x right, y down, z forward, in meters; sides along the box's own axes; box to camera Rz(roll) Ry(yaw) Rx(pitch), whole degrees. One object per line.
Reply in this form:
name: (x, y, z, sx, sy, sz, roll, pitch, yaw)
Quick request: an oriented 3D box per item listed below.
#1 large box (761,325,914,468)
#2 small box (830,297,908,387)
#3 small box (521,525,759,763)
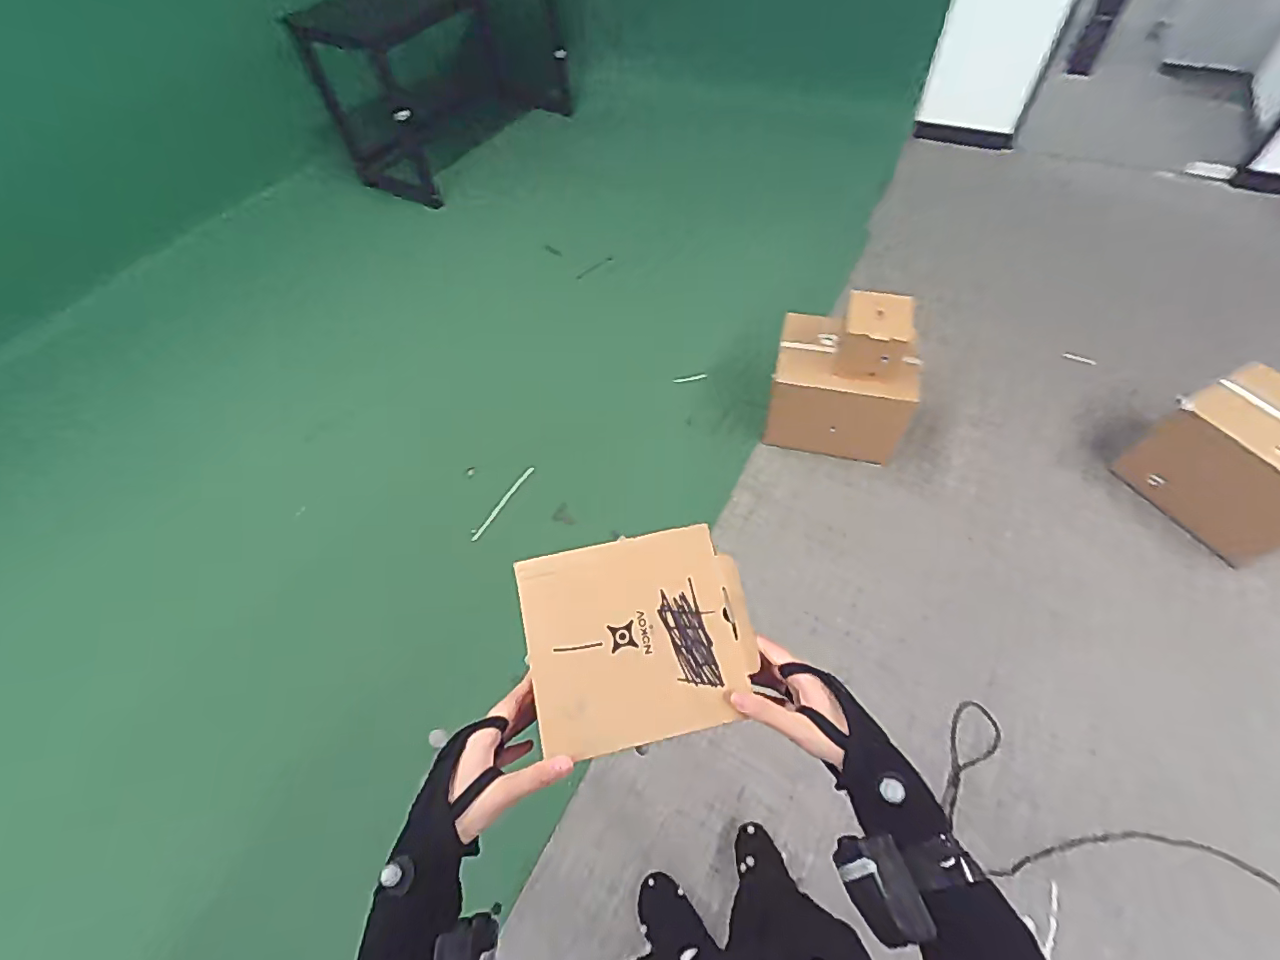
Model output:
large box: (0.626, -0.268, 1.752, 0.408, 0.320, 0.320, 9, 56, 12)
small box: (0.646, -0.388, 1.533, 0.168, 0.176, 0.179, 11, 58, 12)
small box: (-0.008, 0.155, 0.522, 0.179, 0.176, 0.168, -10, 70, -7)
